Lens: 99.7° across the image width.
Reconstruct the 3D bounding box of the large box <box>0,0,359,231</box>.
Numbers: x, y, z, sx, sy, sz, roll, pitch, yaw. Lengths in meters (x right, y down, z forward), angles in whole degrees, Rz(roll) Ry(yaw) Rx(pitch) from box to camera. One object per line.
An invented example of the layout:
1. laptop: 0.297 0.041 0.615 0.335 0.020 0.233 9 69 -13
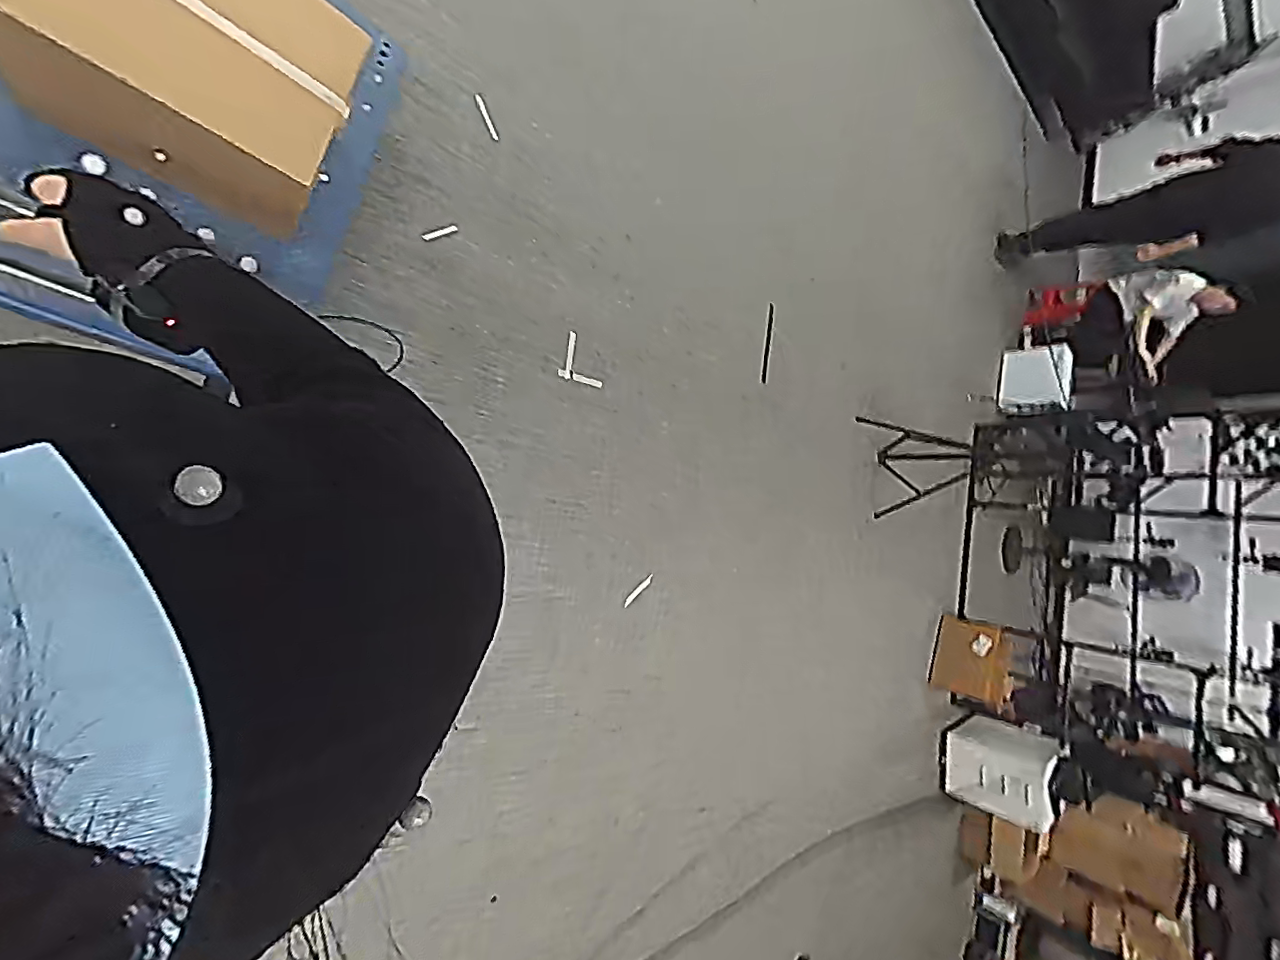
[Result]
1. large box: -0.765 -0.710 0.922 0.408 0.320 0.320 22 77 -37
